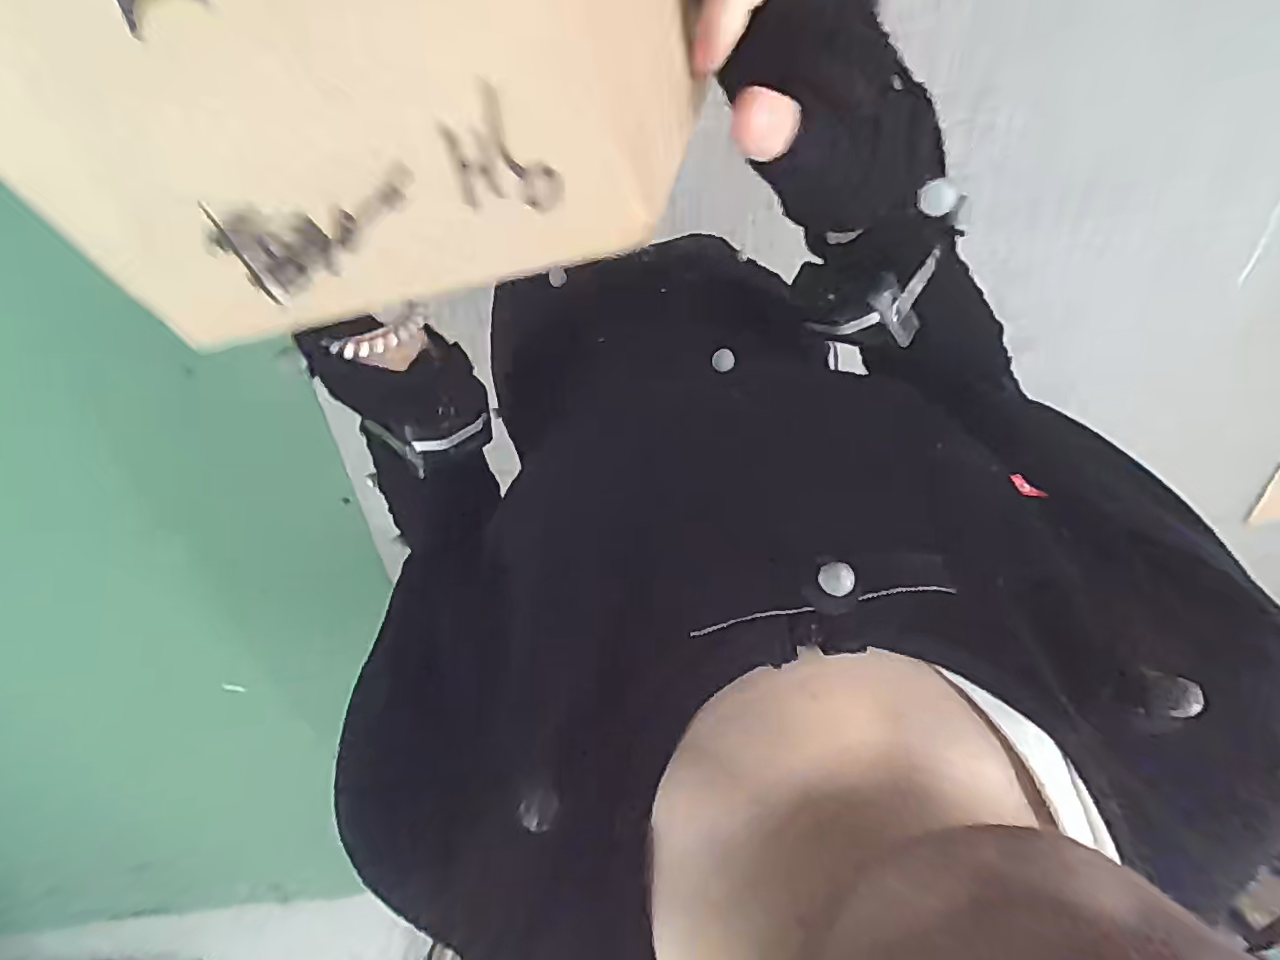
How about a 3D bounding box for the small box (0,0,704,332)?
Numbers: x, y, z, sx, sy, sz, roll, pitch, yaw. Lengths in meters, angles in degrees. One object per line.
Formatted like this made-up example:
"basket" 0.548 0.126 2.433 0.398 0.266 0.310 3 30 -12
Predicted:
"small box" -0.079 -0.172 0.144 0.168 0.176 0.179 -6 138 17
